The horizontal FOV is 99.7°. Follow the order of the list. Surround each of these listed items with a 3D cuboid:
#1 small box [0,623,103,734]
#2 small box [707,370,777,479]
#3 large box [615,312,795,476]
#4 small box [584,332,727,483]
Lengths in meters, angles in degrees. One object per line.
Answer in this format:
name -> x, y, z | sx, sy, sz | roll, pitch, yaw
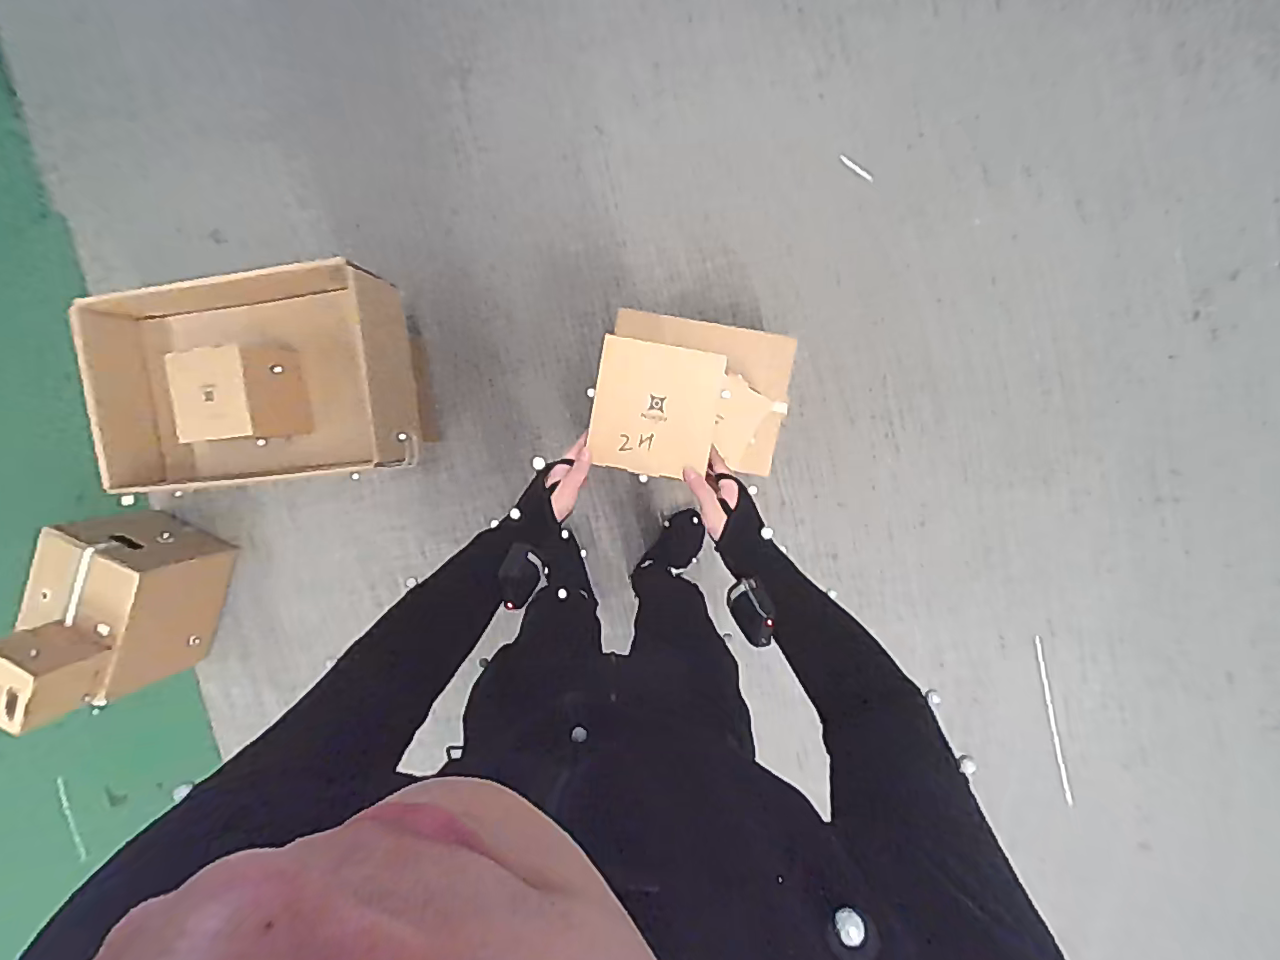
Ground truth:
small box -> -1.512, 0.482, 1.346 | 0.179, 0.176, 0.168 | 27, 97, 3
small box -> 0.155, -0.125, 1.107 | 0.168, 0.176, 0.179 | 31, 99, 2
large box -> 0.139, -0.207, 1.349 | 0.408, 0.320, 0.320 | 11, 96, 6
small box -> 0.021, -0.098, 0.787 | 0.168, 0.176, 0.179 | 10, 93, 1
